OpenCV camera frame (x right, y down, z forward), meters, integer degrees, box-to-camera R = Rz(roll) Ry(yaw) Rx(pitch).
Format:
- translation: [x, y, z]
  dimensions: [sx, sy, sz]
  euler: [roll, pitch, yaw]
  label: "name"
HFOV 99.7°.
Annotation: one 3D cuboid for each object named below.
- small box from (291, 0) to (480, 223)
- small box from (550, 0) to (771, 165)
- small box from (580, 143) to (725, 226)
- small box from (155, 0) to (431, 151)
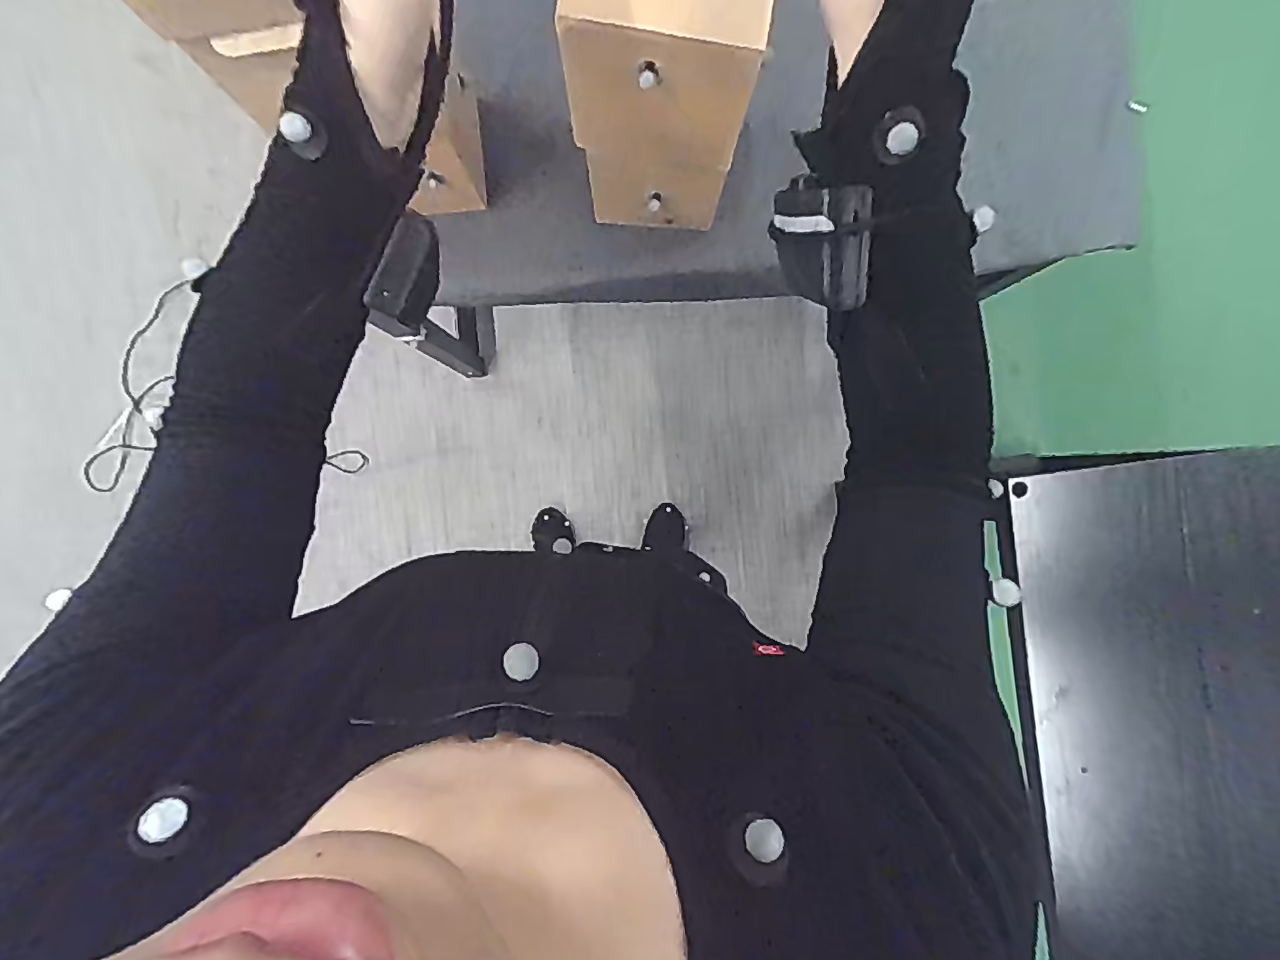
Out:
- translation: [-0.311, -0.450, 0.683]
  dimensions: [0.179, 0.176, 0.168]
  euler: [-7, 89, 0]
  label: "small box"
- translation: [0.025, -0.436, 0.518]
  dimensions: [0.179, 0.176, 0.168]
  euler: [9, 89, 1]
  label: "small box"
- translation: [0.022, -0.444, 0.682]
  dimensions: [0.168, 0.176, 0.179]
  euler: [4, 90, 1]
  label: "small box"
- translation: [-0.320, -0.449, 0.519]
  dimensions: [0.168, 0.176, 0.179]
  euler: [-11, 88, -1]
  label: "small box"
